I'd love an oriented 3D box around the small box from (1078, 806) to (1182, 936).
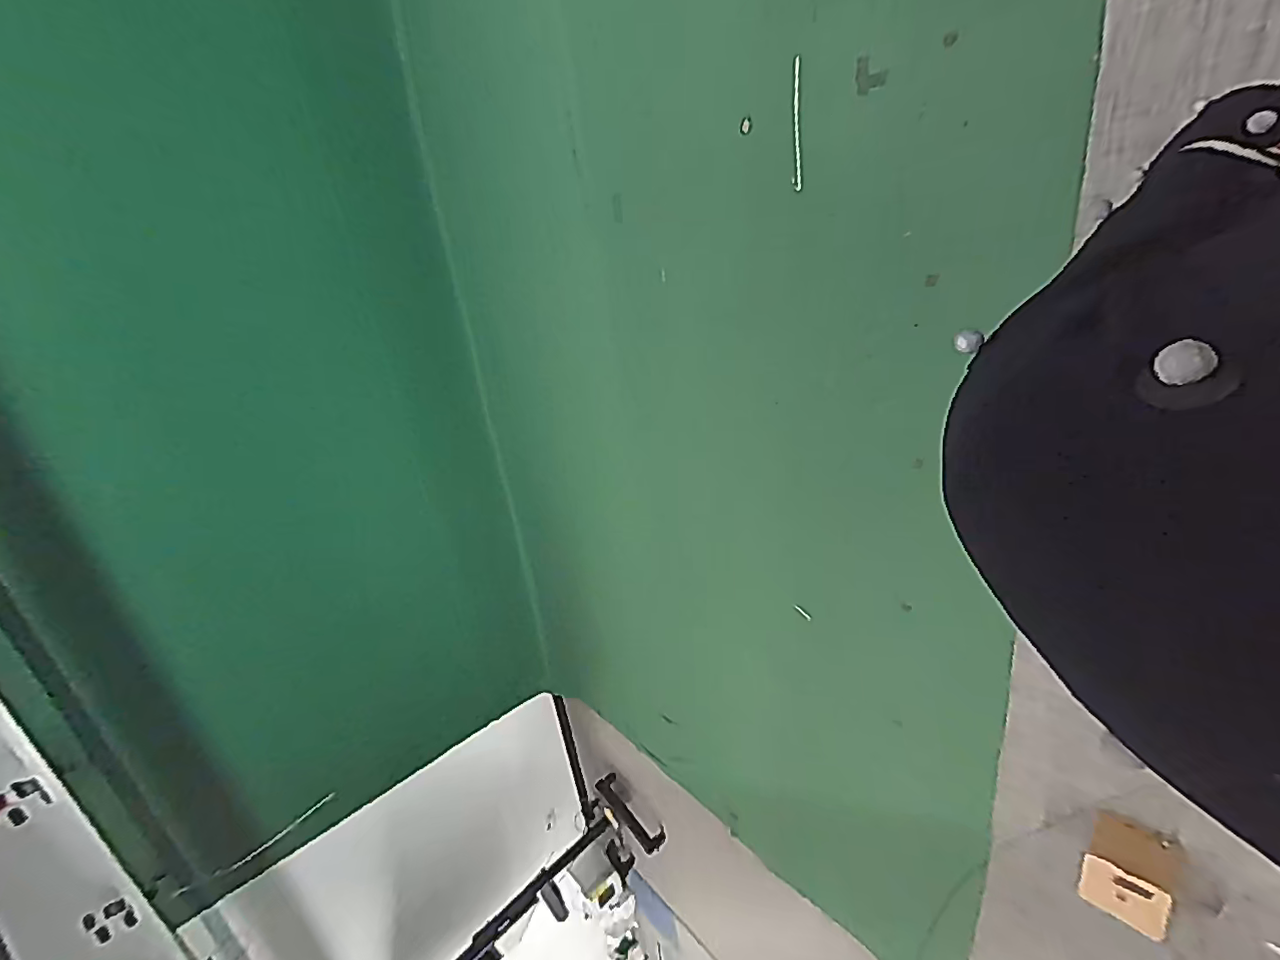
[{"bbox_3d":[1.276,1.006,1.409,0.168,0.176,0.179,15,121,49],"label":"small box"}]
